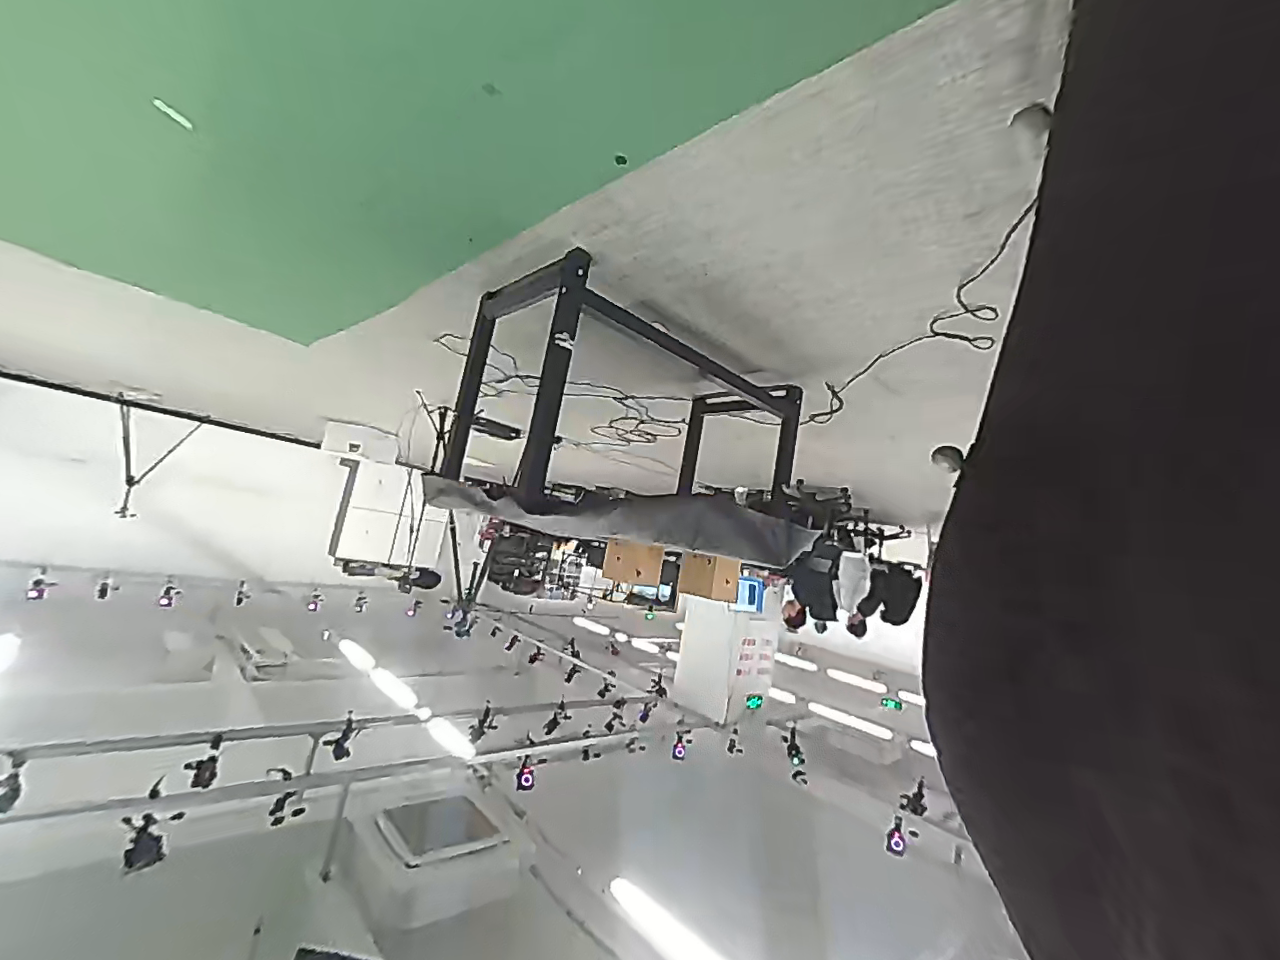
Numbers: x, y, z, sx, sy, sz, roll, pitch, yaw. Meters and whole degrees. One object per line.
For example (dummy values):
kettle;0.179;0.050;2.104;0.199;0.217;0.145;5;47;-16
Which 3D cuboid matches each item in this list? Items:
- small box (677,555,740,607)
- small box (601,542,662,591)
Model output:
small box;0.268;0.391;2.113;0.168;0.176;0.179;4;170;44
small box;-0.032;0.349;2.195;0.179;0.176;0.168;18;169;-42
